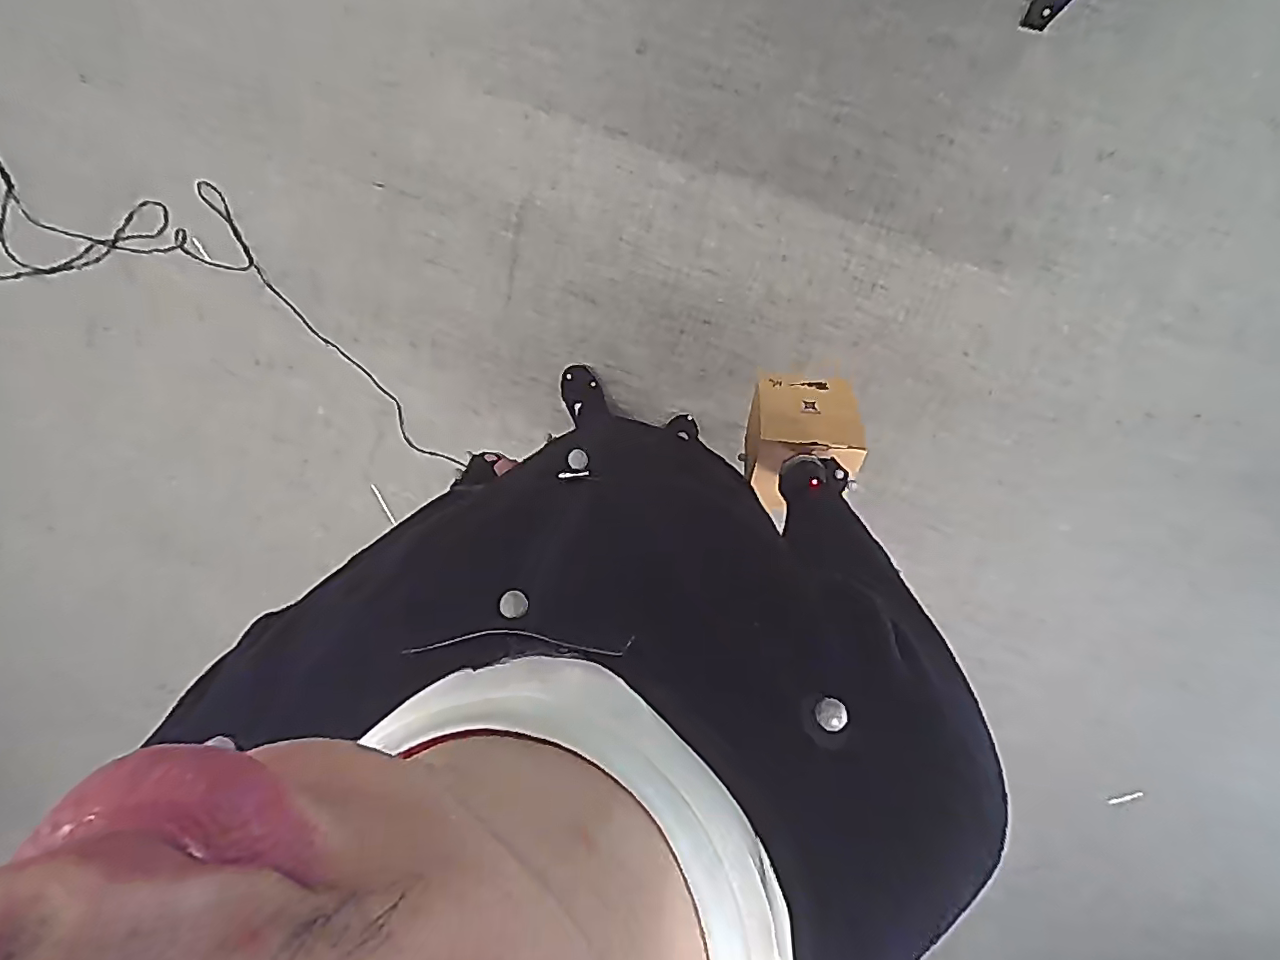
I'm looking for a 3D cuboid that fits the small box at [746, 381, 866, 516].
[{"bbox_3d":[0.281,-0.054,0.957,0.168,0.179,0.176,3,137,4],"label":"small box"}]
